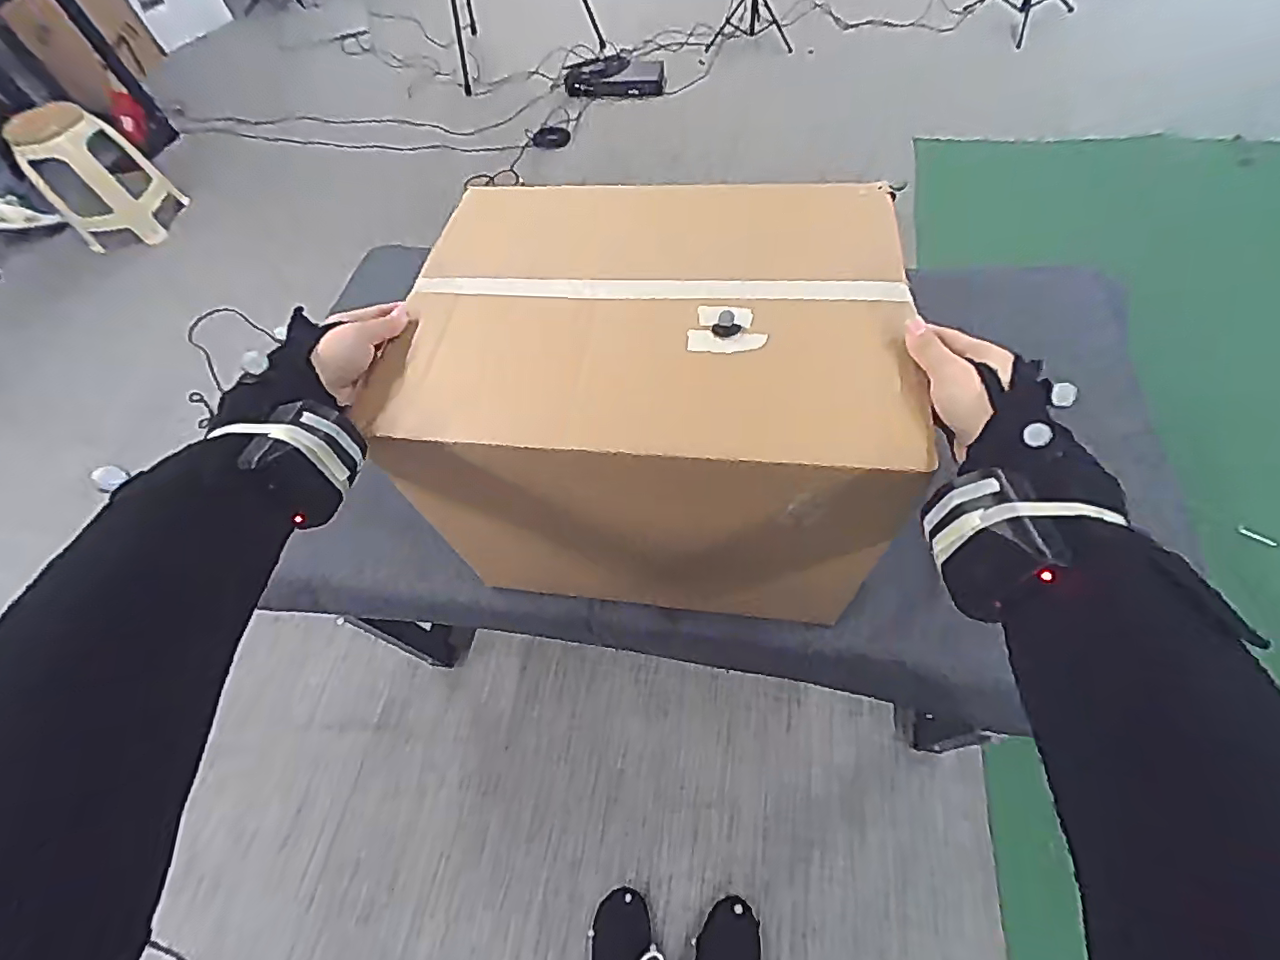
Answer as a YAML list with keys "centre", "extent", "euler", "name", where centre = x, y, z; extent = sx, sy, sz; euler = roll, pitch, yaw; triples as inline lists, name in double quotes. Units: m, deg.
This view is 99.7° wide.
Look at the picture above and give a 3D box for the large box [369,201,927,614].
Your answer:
- centre: [0.020, -0.067, 0.579]
  extent: [0.408, 0.320, 0.320]
  euler: [4, 58, 8]
  name: "large box"
